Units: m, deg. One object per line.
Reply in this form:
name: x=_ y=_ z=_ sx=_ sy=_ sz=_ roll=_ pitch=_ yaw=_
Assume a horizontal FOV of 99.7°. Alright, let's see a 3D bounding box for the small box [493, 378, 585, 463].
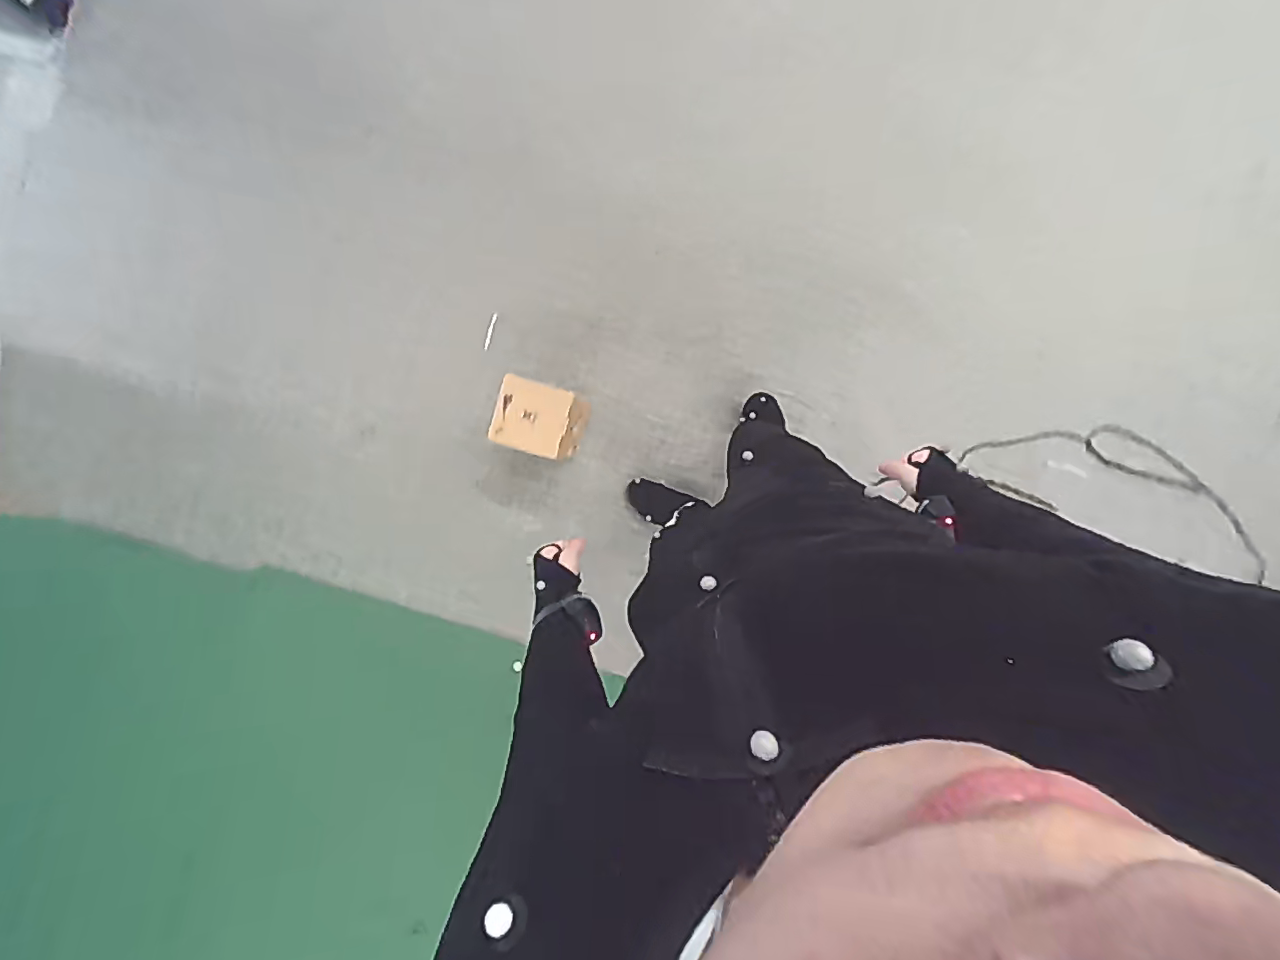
small box: x=-0.247 y=-0.149 z=1.372 sx=0.179 sy=0.176 sz=0.168 roll=17 pitch=93 yaw=0
